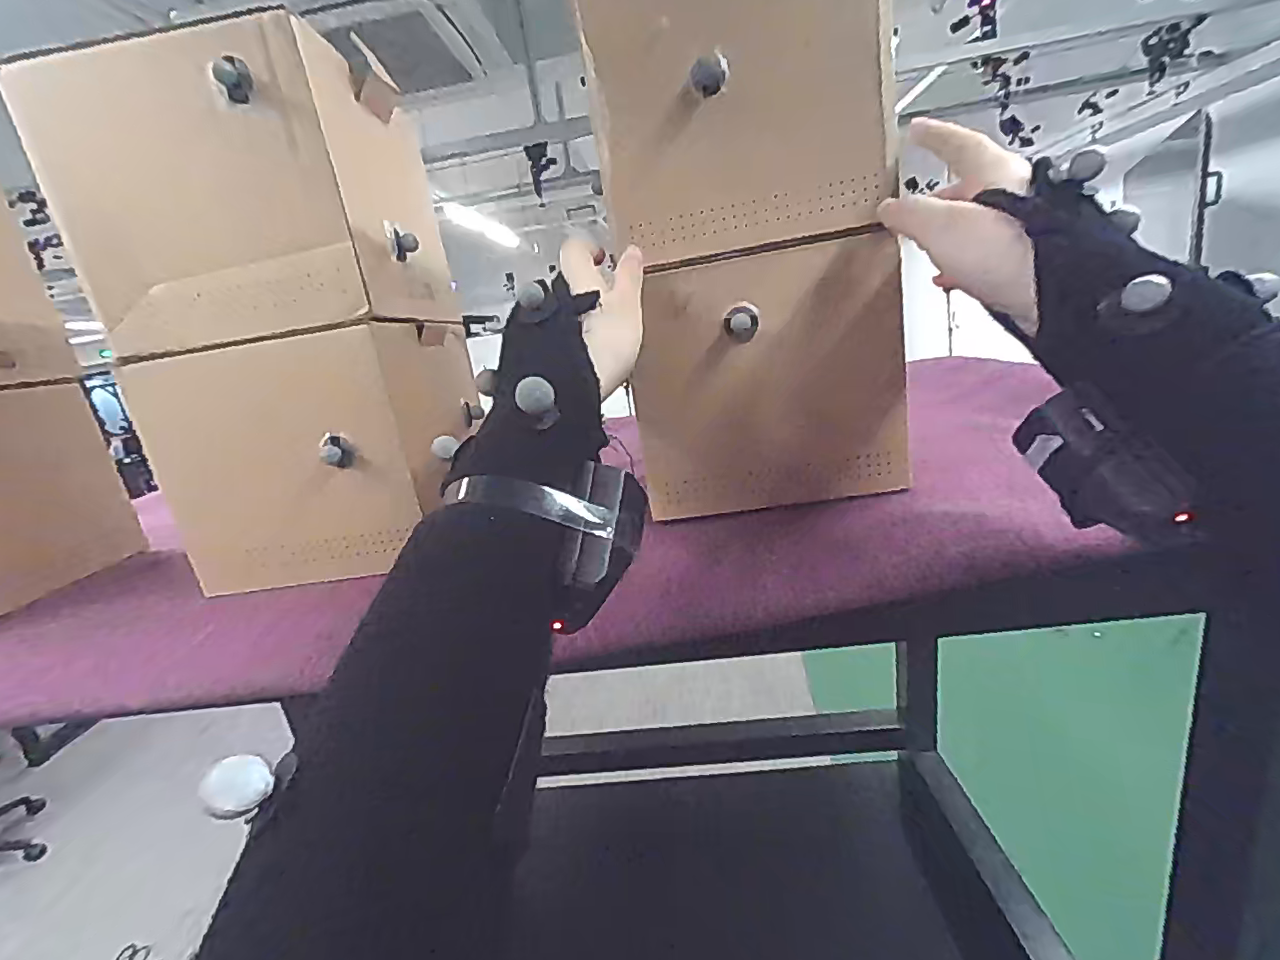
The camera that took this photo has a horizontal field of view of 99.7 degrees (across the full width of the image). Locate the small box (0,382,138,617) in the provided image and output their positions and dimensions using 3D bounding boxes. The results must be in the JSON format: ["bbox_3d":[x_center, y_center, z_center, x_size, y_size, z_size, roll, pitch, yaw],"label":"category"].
[{"bbox_3d":[-0.571,0.027,0.429,0.168,0.176,0.179,-7,17,3],"label":"small box"}]

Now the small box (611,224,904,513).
[{"bbox_3d":[0.087,-0.079,0.423,0.179,0.176,0.168,-7,14,7],"label":"small box"}]

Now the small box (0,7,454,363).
[{"bbox_3d":[-0.260,-0.180,0.389,0.179,0.176,0.168,-9,15,2],"label":"small box"}]

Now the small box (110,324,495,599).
[{"bbox_3d":[-0.232,-0.024,0.429,0.179,0.176,0.168,-9,15,4],"label":"small box"}]

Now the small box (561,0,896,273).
[{"bbox_3d":[0.062,-0.236,0.385,0.179,0.176,0.168,-9,14,8],"label":"small box"}]
